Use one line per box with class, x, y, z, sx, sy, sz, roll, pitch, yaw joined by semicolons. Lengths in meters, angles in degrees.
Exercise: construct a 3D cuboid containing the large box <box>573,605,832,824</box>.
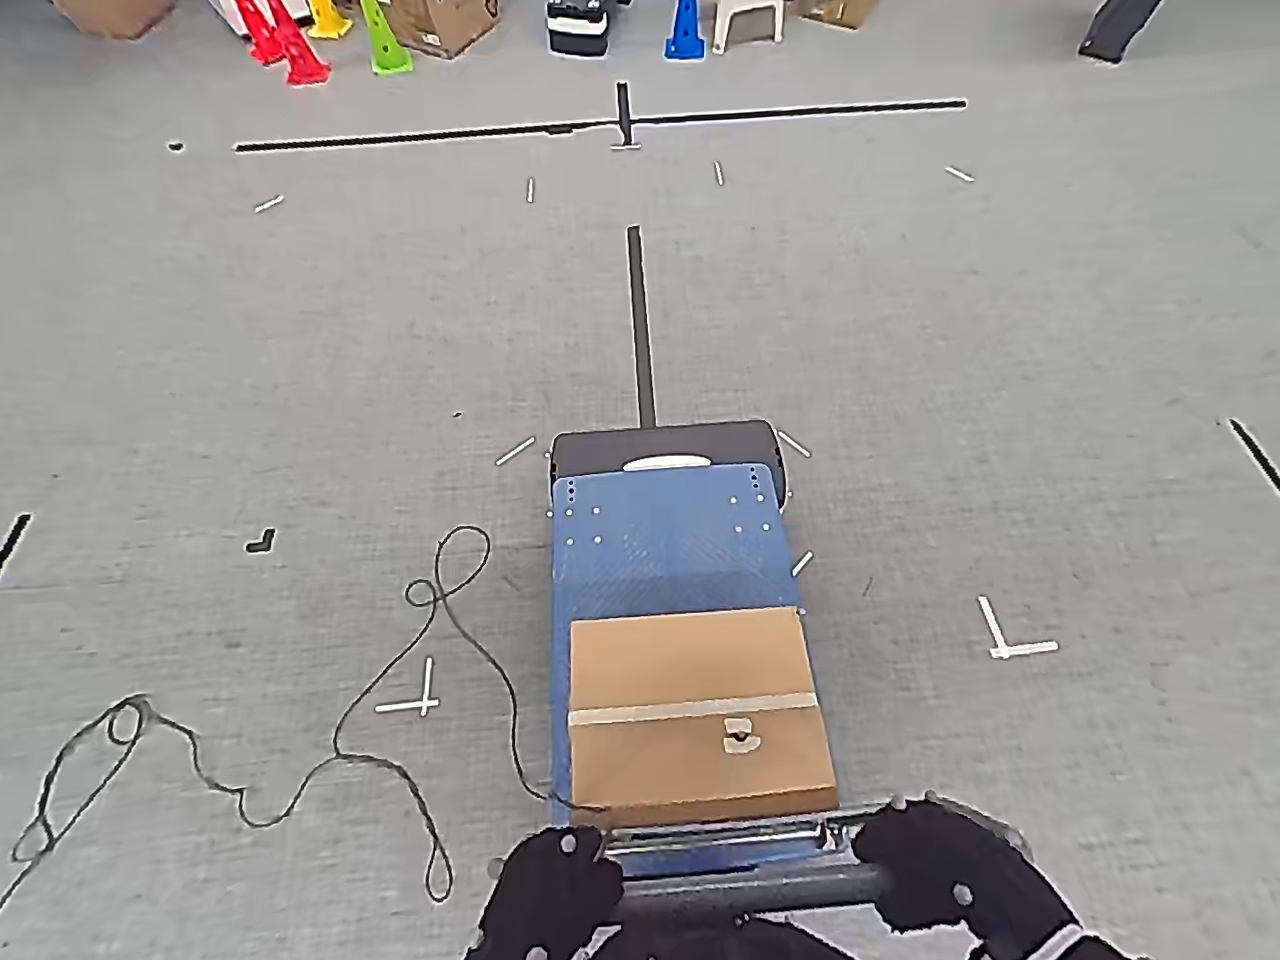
large box;0.089;0.449;1.031;0.408;0.320;0.320;-3;61;-3
